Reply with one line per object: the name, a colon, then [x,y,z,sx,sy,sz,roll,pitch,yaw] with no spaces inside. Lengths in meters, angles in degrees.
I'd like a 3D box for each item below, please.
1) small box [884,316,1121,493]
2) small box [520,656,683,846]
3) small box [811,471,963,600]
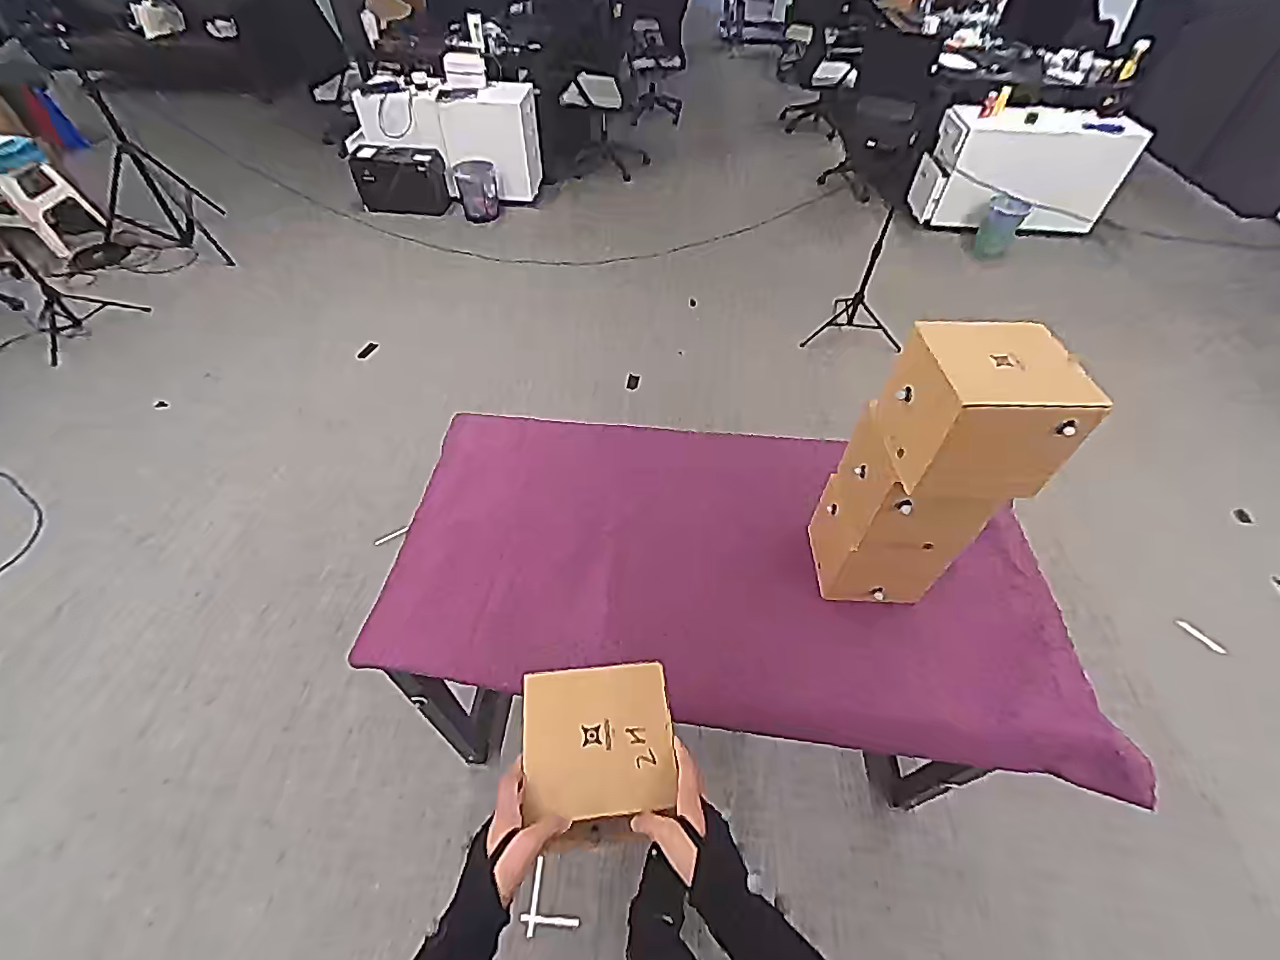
small box: [0.441,-0.095,0.703,0.179,0.176,0.168,0,49,-2]
small box: [-0.051,0.341,0.678,0.179,0.176,0.168,-2,47,-7]
small box: [0.426,0.103,0.965,0.179,0.176,0.168,3,49,0]
